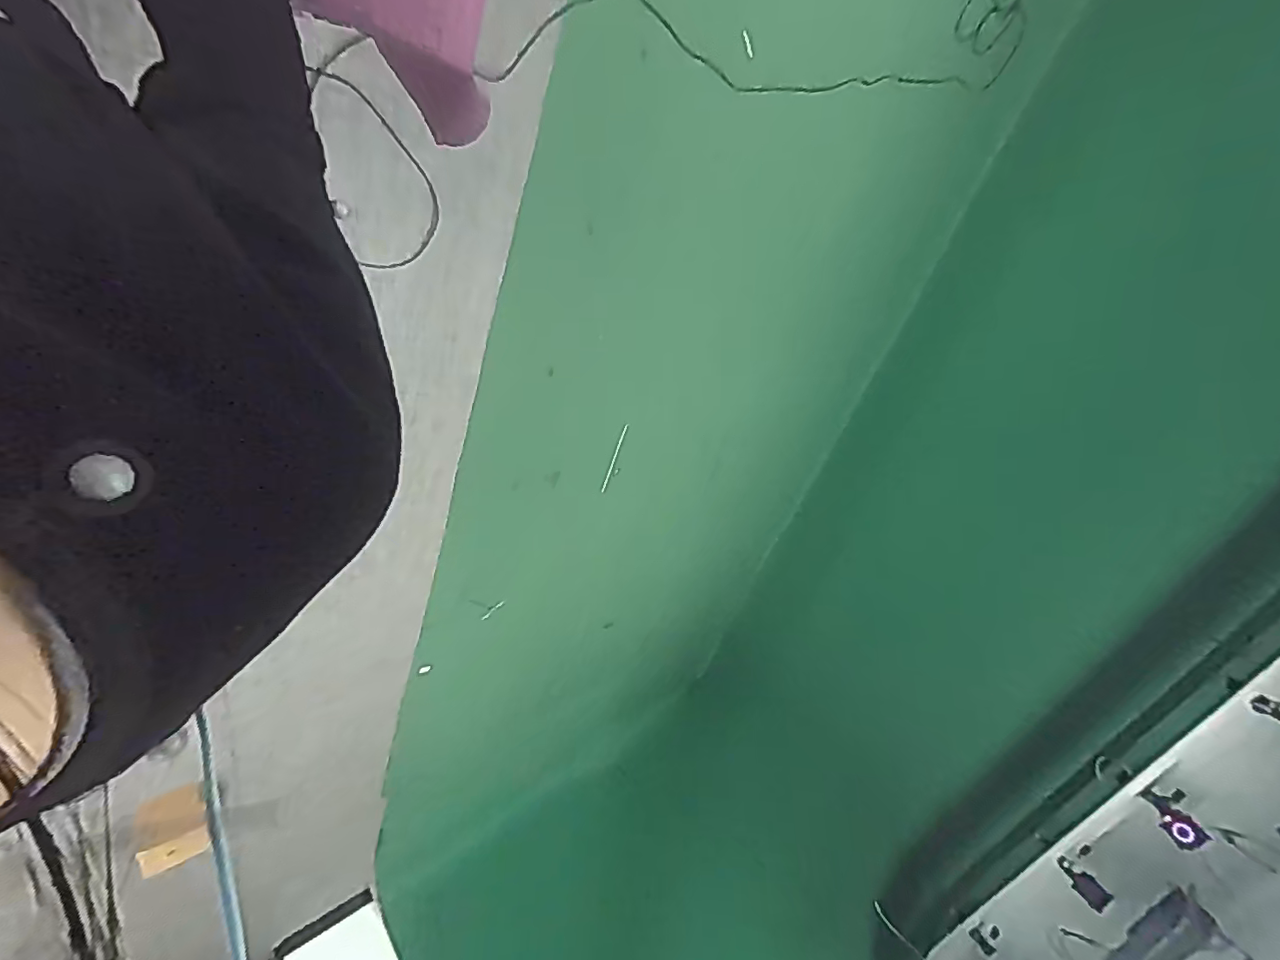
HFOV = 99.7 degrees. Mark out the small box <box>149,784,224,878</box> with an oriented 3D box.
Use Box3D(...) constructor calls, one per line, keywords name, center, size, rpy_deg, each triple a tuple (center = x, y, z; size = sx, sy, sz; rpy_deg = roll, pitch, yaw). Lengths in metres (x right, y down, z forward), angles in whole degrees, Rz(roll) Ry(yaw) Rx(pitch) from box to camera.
Box3D(name="small box", center=(-1.557, 1.197, 1.856), size=(0.179, 0.176, 0.168), rpy_deg=(-12, 130, -44))
